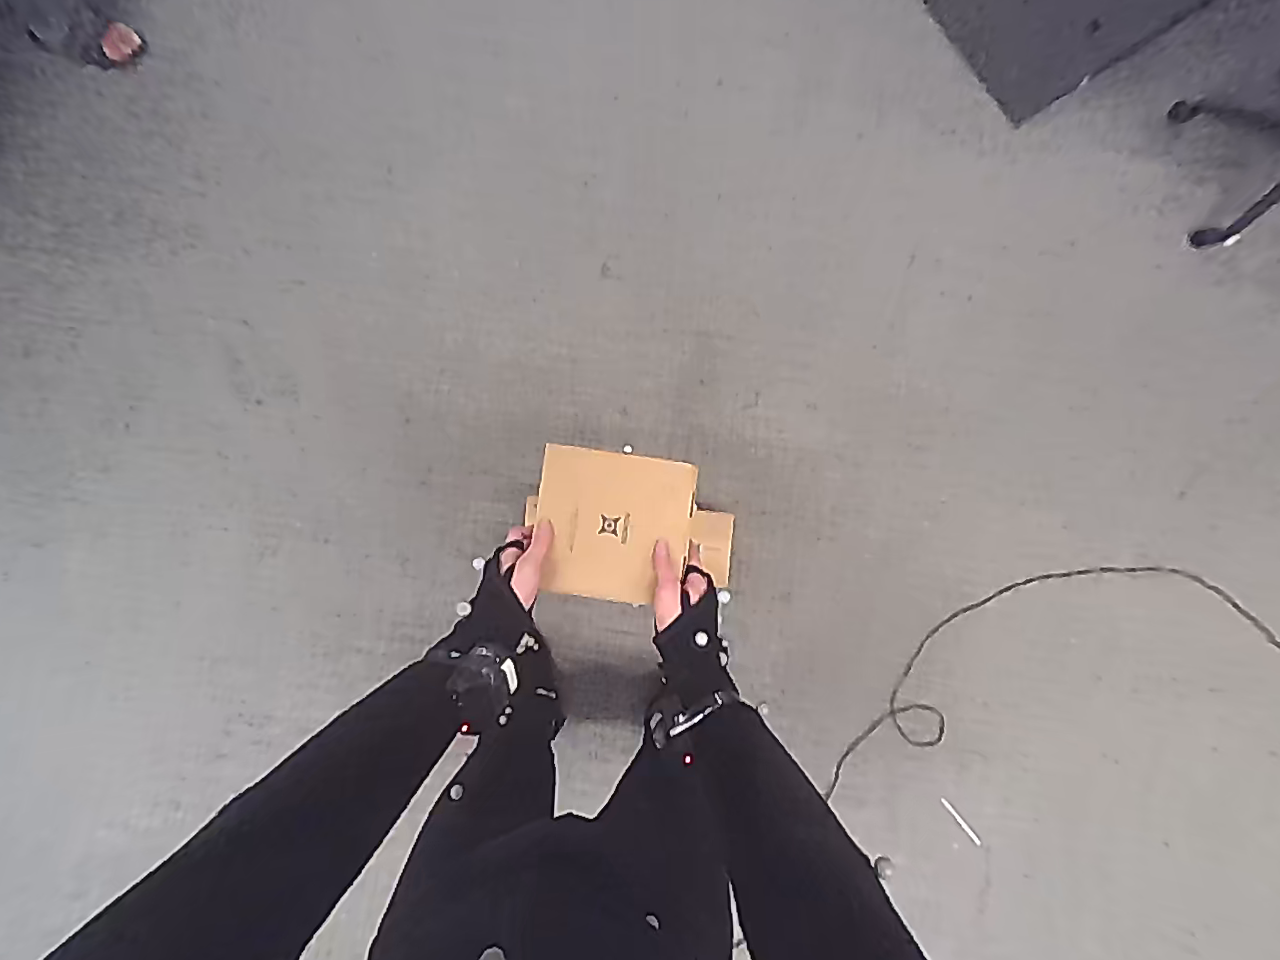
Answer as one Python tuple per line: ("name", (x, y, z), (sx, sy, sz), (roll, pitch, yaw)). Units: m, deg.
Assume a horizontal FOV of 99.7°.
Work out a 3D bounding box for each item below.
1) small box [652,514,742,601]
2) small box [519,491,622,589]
("small box", (0.129, 0.180, 1.276), (0.179, 0.176, 0.168), (10, 85, 2))
("small box", (-0.156, 0.144, 1.277), (0.179, 0.176, 0.168), (-27, 82, -2))
